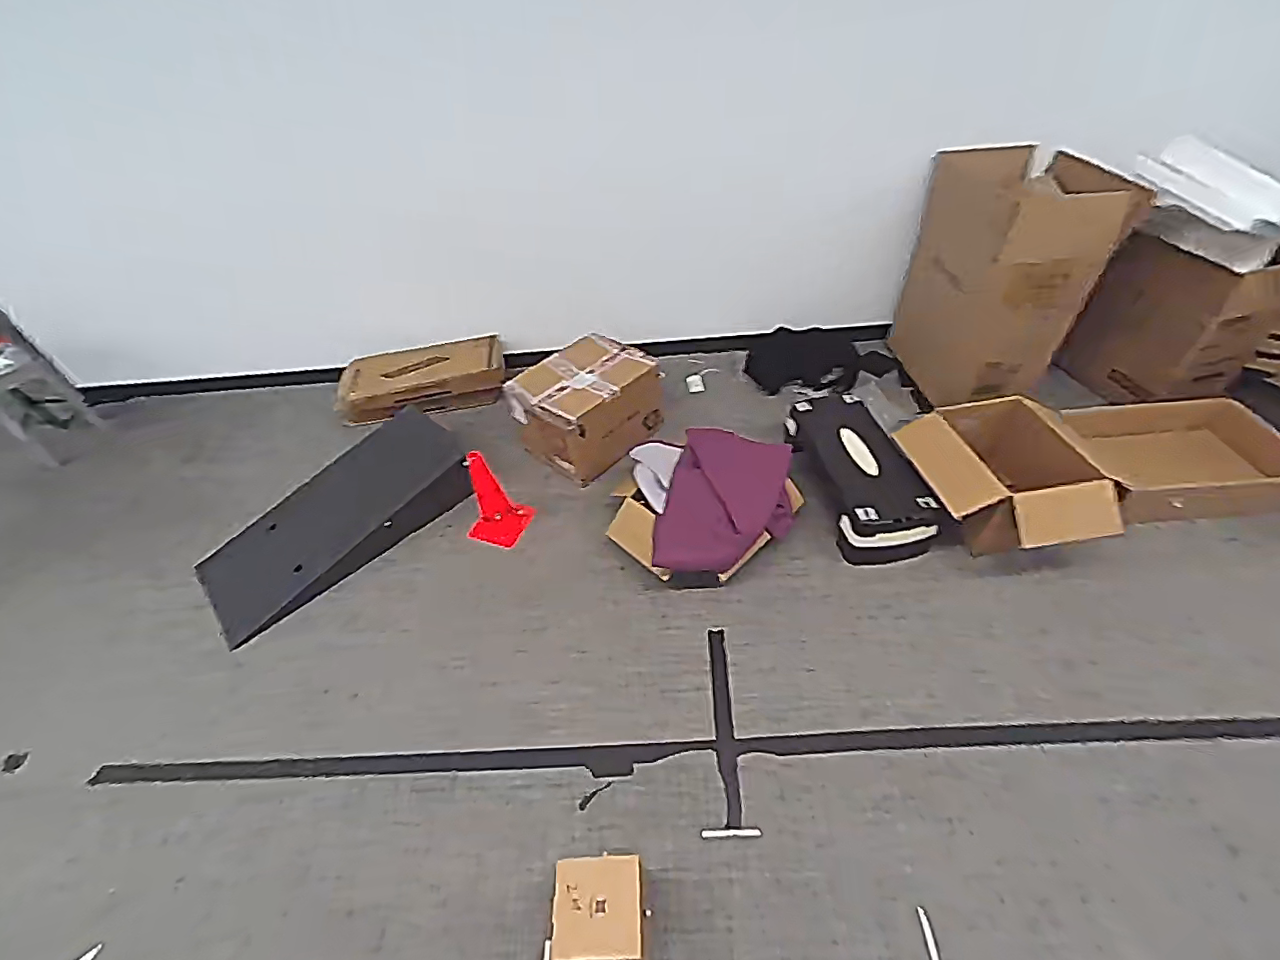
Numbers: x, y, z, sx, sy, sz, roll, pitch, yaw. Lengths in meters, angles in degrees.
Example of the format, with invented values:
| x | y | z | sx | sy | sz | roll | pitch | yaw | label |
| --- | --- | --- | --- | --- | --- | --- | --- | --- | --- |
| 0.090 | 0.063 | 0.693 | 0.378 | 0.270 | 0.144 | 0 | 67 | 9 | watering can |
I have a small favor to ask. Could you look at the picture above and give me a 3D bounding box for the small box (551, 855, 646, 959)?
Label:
| x | y | z | sx | sy | sz | roll | pitch | yaw | label |
| --- | --- | --- | --- | --- | --- | --- | --- | --- | --- |
| -0.078 | 0.904 | 1.135 | 0.179 | 0.176 | 0.168 | -4 | 44 | 3 | small box |
